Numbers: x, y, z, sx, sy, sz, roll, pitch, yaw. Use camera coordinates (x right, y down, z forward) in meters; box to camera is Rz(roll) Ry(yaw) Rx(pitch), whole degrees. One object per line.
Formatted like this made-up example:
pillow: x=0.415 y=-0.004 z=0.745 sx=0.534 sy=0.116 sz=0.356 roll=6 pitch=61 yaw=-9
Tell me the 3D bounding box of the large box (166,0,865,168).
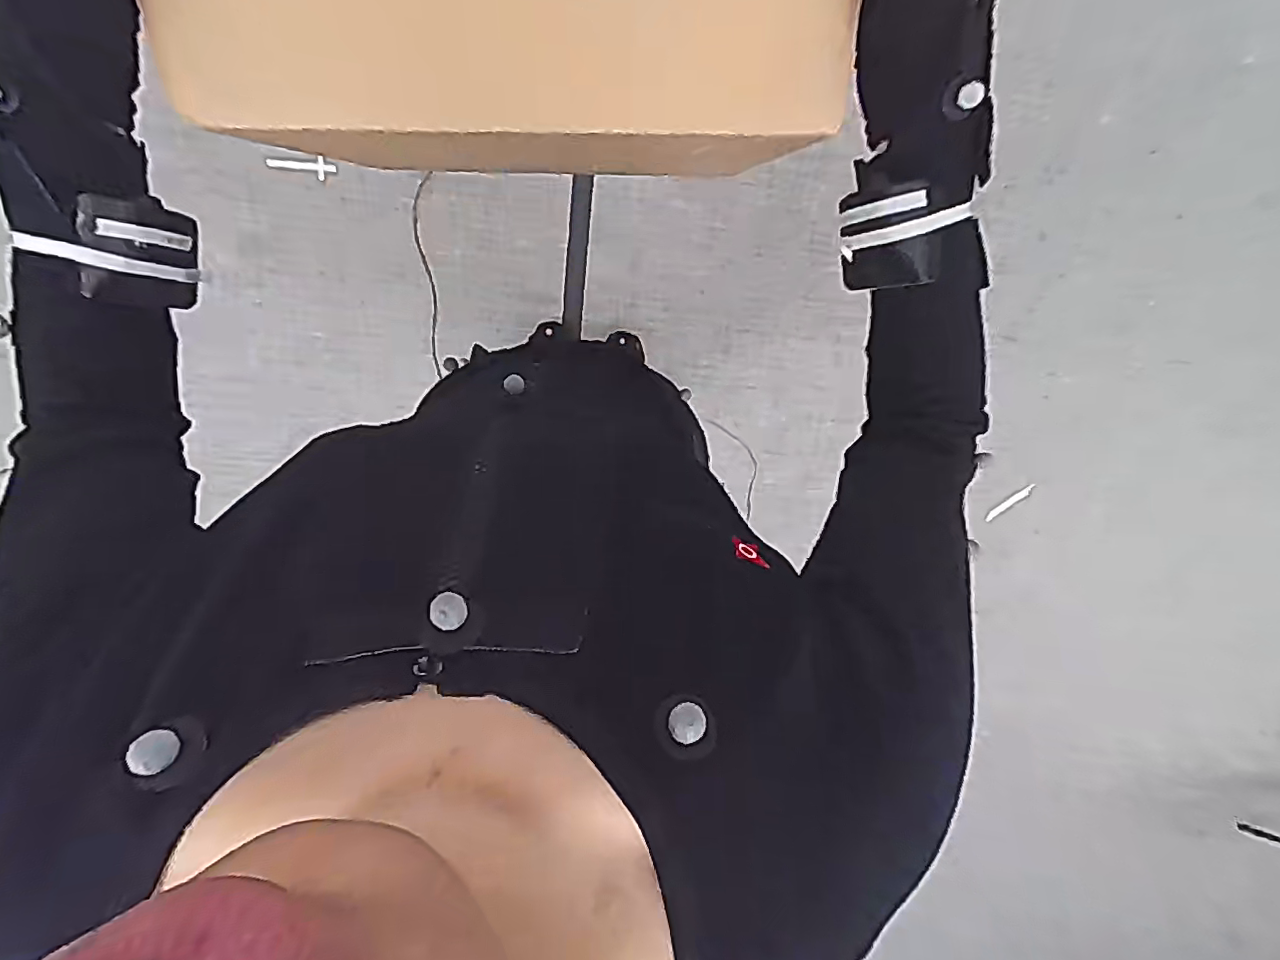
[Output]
large box: x=-0.076 y=-0.426 z=0.401 sx=0.408 sy=0.320 sz=0.320 roll=-1 pitch=116 yaw=-3
